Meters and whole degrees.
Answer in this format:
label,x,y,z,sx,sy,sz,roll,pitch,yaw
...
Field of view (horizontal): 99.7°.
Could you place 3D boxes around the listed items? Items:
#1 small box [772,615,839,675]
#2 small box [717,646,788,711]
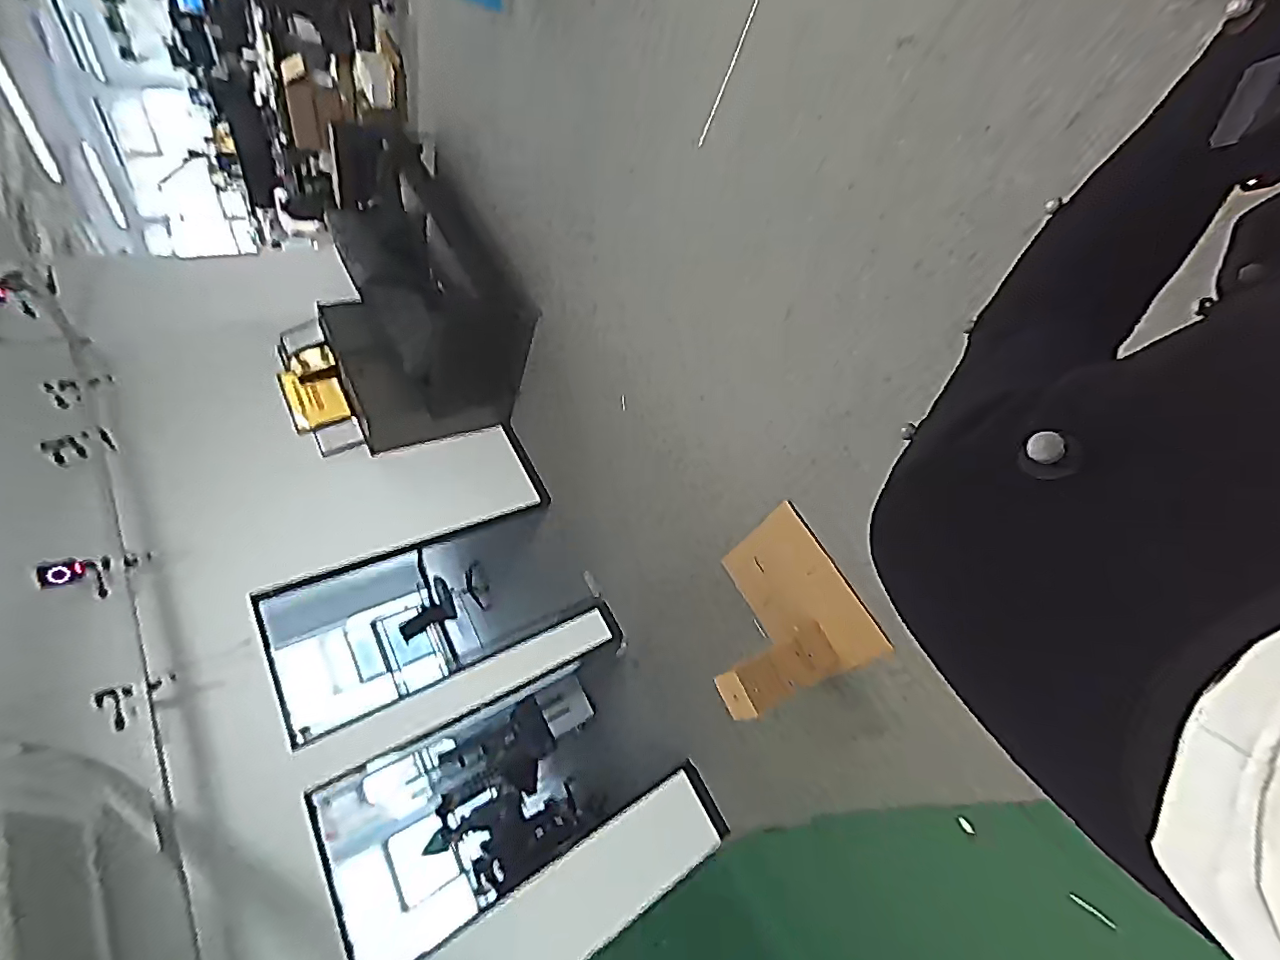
label,x,y,z,sx,sy,sz,roll,pitch,yaw
small box,0.703,0.700,2.291,0.179,0.176,0.168,62,147,16
small box,0.441,0.775,2.109,0.179,0.176,0.168,63,147,14
